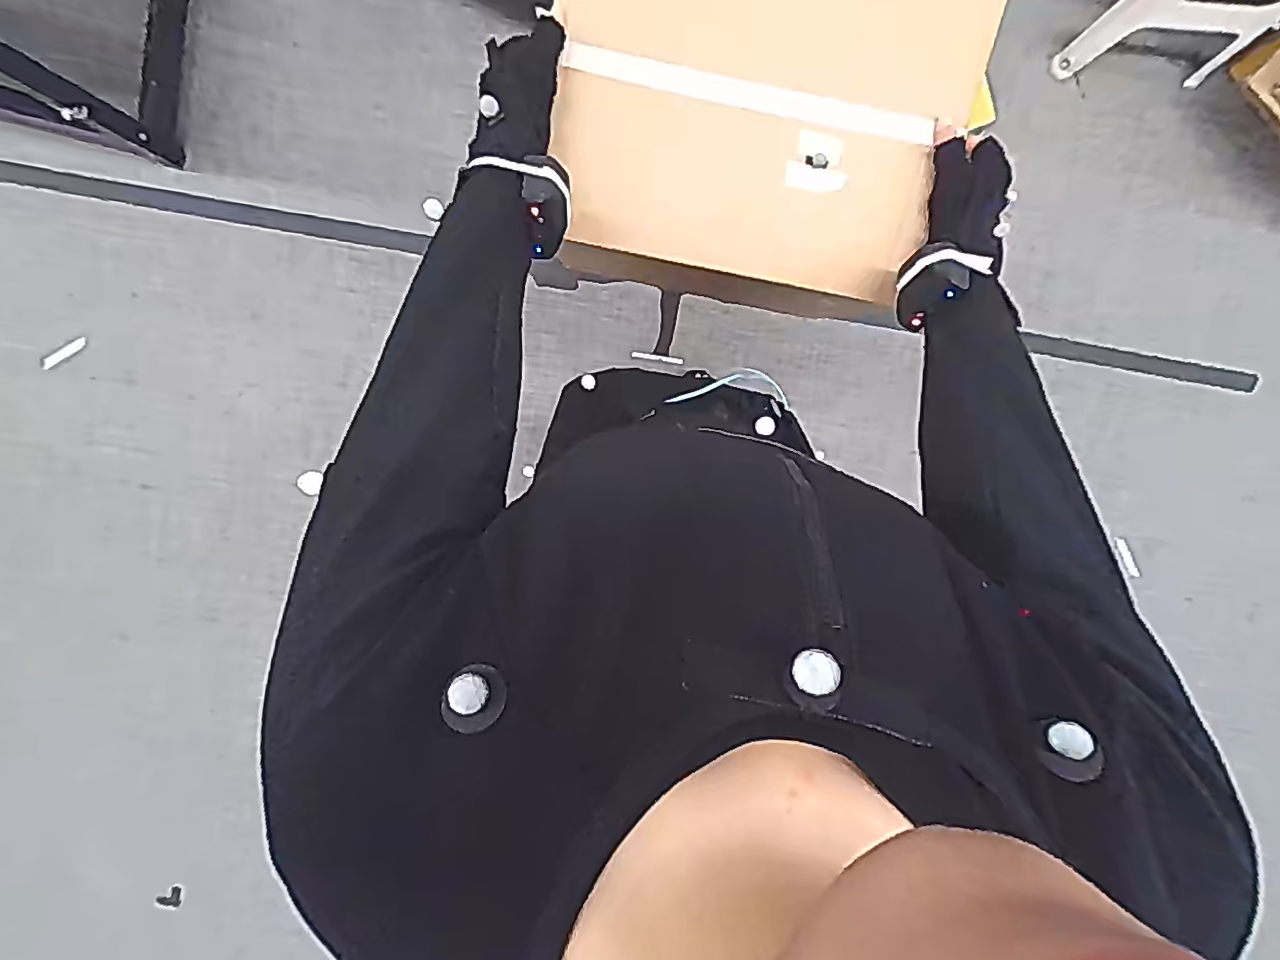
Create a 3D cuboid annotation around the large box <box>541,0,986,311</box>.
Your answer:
[{"bbox_3d":[0.110,-0.409,0.678,0.408,0.320,0.320,10,105,-4],"label":"large box"}]
